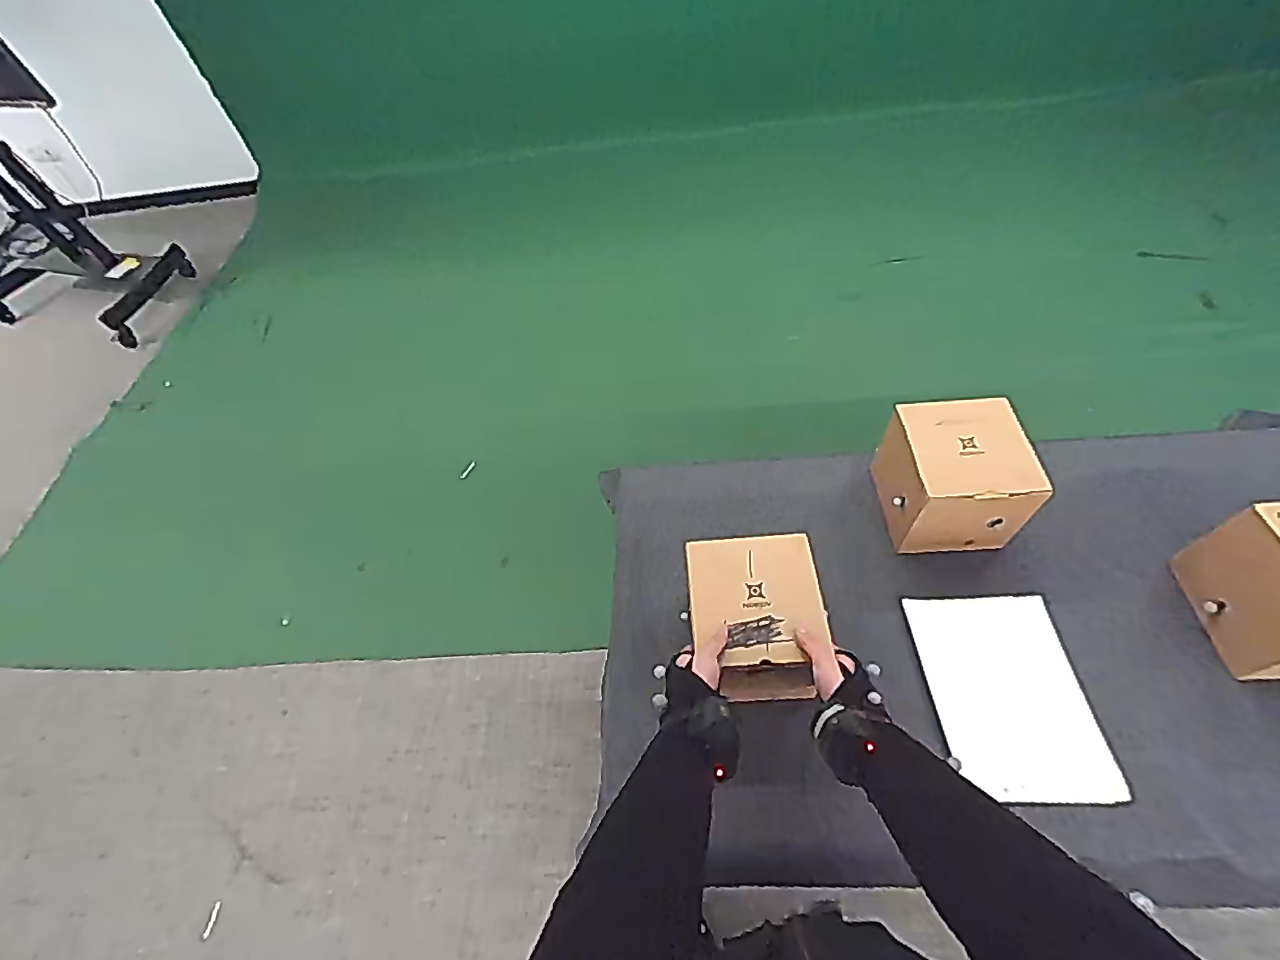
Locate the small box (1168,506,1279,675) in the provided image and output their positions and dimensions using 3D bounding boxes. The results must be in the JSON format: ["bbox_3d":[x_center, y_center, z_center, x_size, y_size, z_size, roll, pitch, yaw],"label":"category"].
[{"bbox_3d":[0.860,0.146,0.694,0.168,0.176,0.179,-3,56,5],"label":"small box"}]

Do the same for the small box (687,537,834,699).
[{"bbox_3d":[0.156,0.199,0.753,0.168,0.176,0.179,-5,55,4],"label":"small box"}]

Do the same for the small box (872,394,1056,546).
[{"bbox_3d":[0.480,-0.007,0.835,0.168,0.176,0.179,-4,54,4],"label":"small box"}]
